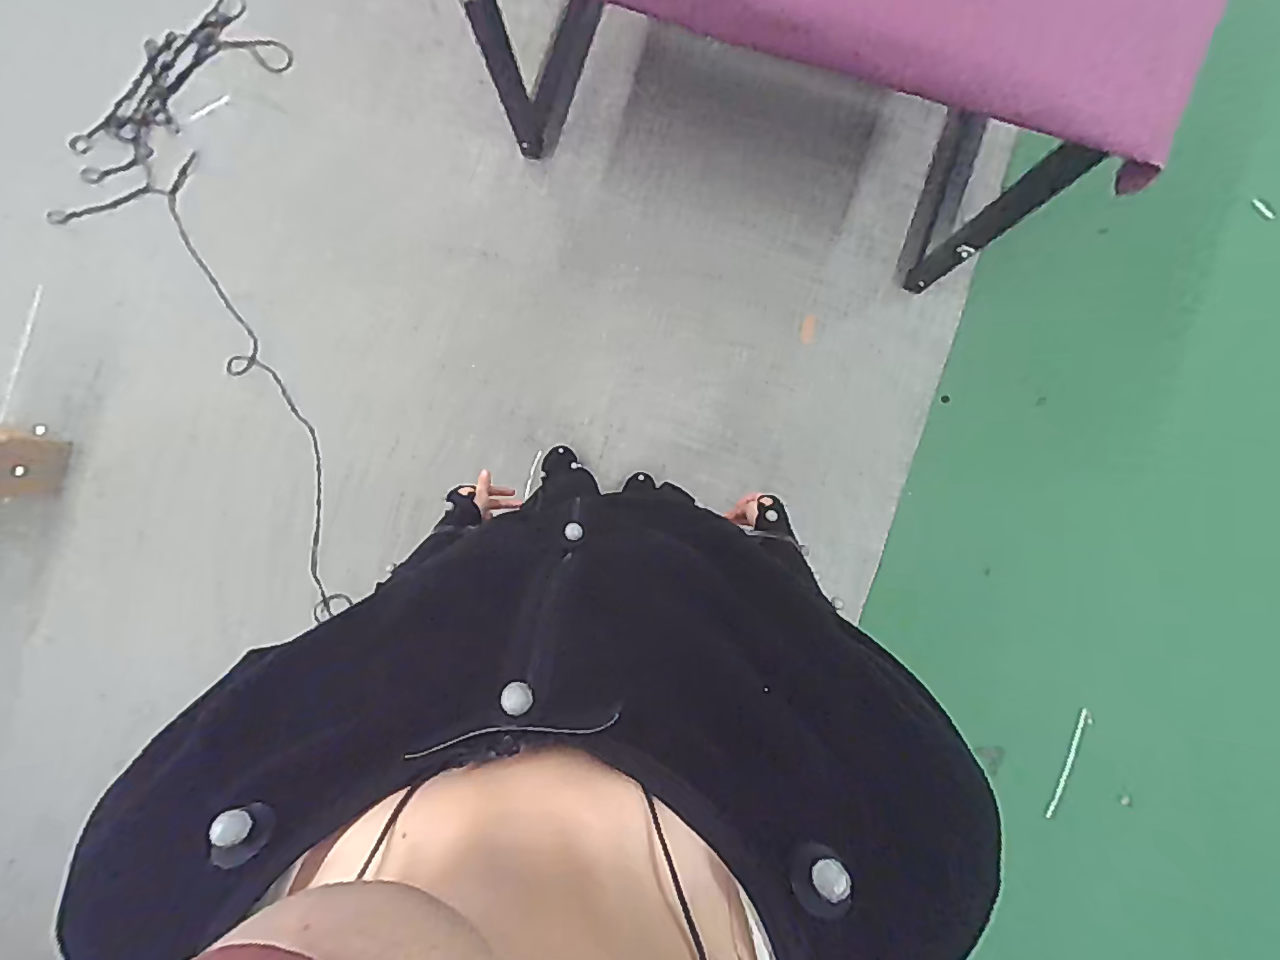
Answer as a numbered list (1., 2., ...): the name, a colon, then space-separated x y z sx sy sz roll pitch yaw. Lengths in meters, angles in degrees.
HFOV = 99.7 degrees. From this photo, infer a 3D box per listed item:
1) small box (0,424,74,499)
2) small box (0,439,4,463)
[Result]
1. small box: -1.725 -0.050 1.478 0.168 0.176 0.179 17 89 1
2. small box: -1.733 -0.042 1.314 0.168 0.176 0.179 18 90 0
